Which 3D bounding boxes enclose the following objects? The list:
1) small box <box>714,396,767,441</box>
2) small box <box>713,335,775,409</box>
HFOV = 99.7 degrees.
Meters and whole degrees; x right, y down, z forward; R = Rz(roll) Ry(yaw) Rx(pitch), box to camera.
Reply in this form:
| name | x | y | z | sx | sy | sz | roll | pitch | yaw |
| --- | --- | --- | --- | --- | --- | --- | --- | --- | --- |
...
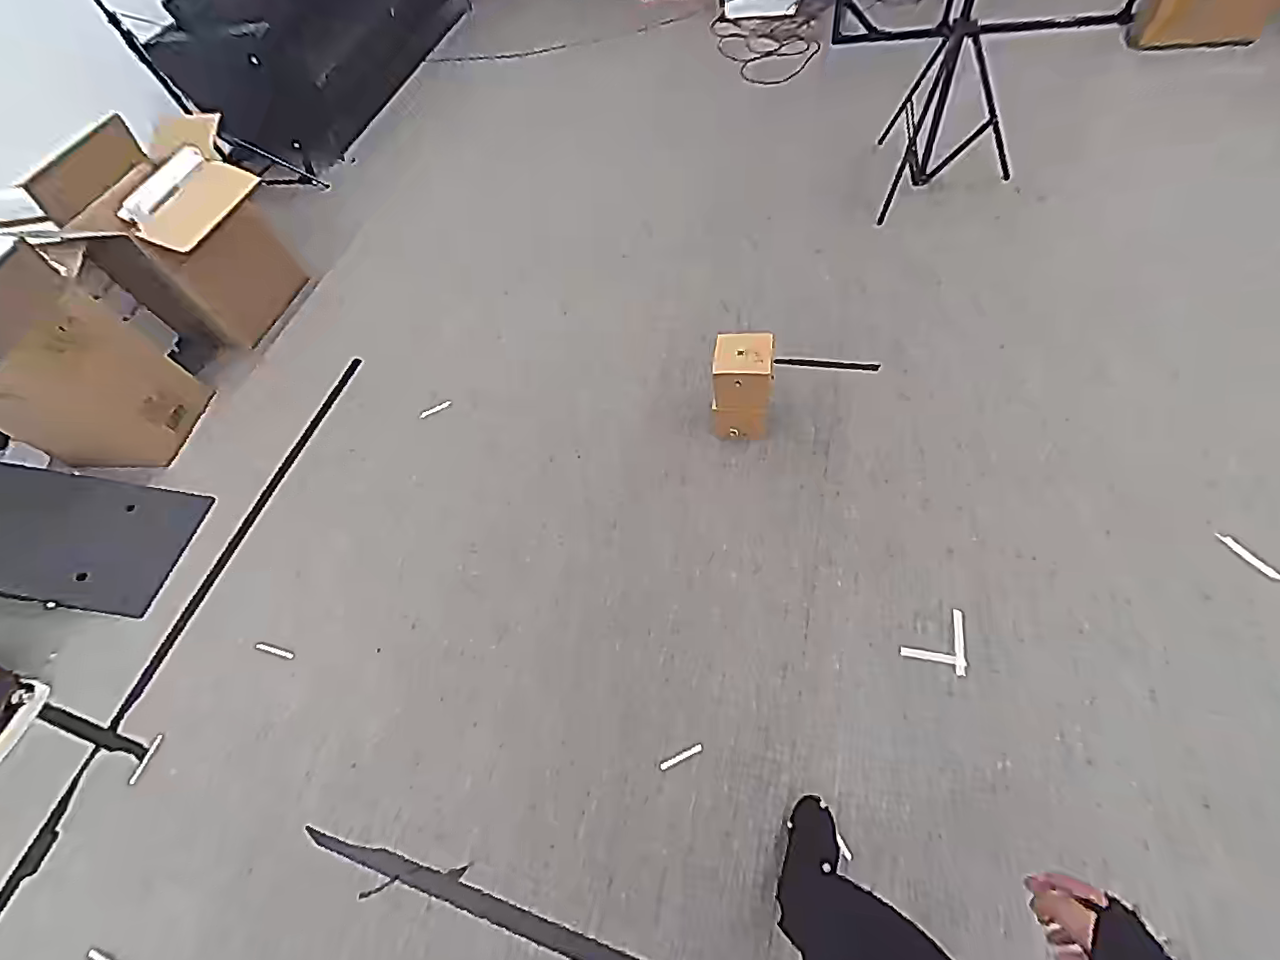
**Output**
| name | x | y | z | sx | sy | sz | roll | pitch | yaw |
| --- | --- | --- | --- | --- | --- | --- | --- | --- | --- |
| small box | 0.348 | -0.255 | 1.848 | 0.168 | 0.176 | 0.179 | 5 | 61 | 15 |
| small box | 0.332 | -0.339 | 1.707 | 0.179 | 0.176 | 0.168 | 4 | 61 | 15 |
